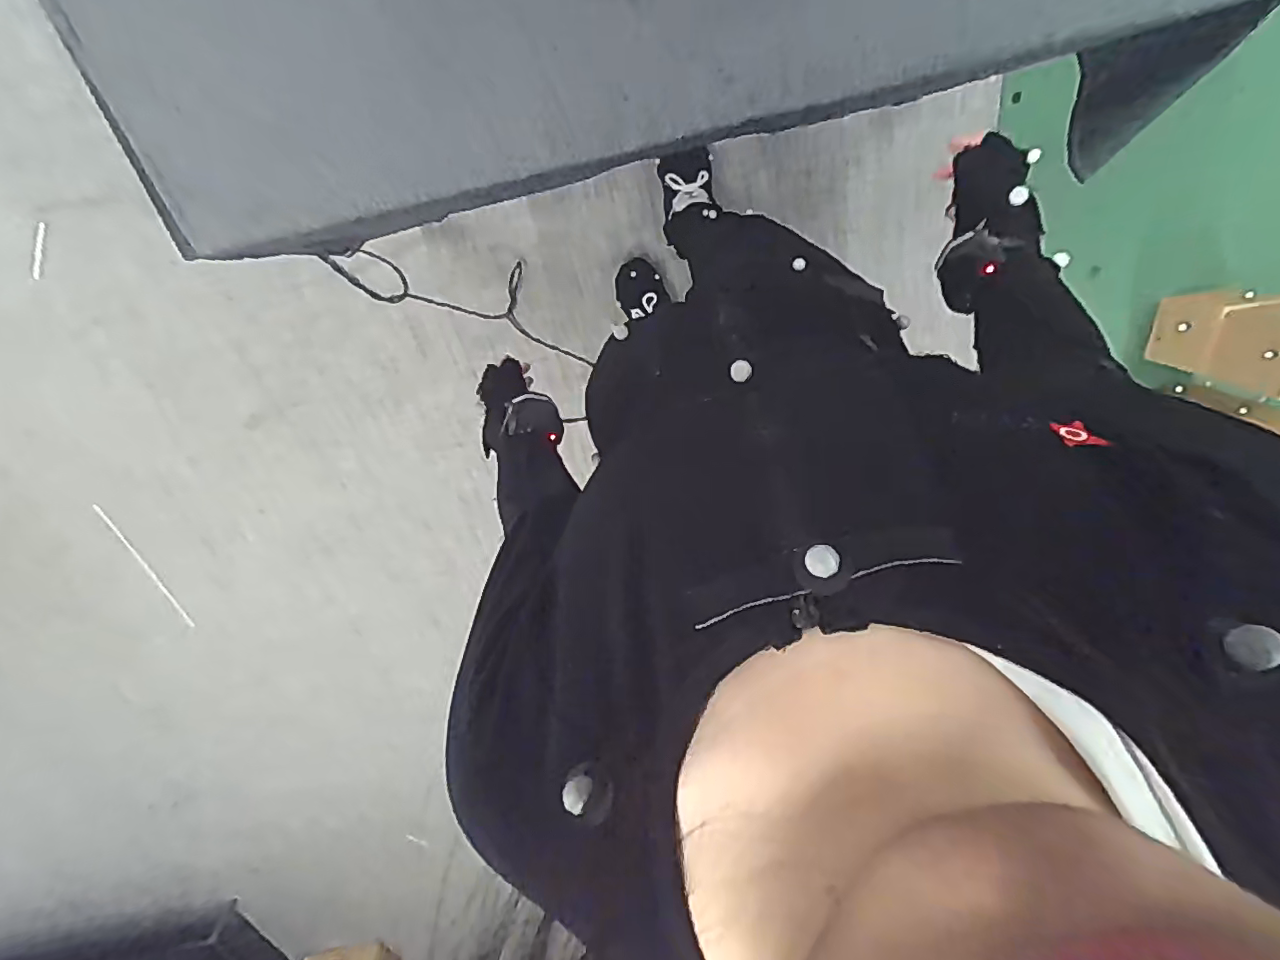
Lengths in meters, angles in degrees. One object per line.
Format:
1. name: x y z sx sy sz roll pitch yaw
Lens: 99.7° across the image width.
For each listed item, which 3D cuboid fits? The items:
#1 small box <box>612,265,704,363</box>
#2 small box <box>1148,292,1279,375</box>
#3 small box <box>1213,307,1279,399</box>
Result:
1. small box: 0.040 -0.404 1.310 0.179 0.176 0.168 18 127 8
2. small box: 1.453 -0.373 1.362 0.179 0.176 0.168 -7 116 1
3. small box: 1.471 -0.293 1.218 0.168 0.176 0.179 -8 116 1
